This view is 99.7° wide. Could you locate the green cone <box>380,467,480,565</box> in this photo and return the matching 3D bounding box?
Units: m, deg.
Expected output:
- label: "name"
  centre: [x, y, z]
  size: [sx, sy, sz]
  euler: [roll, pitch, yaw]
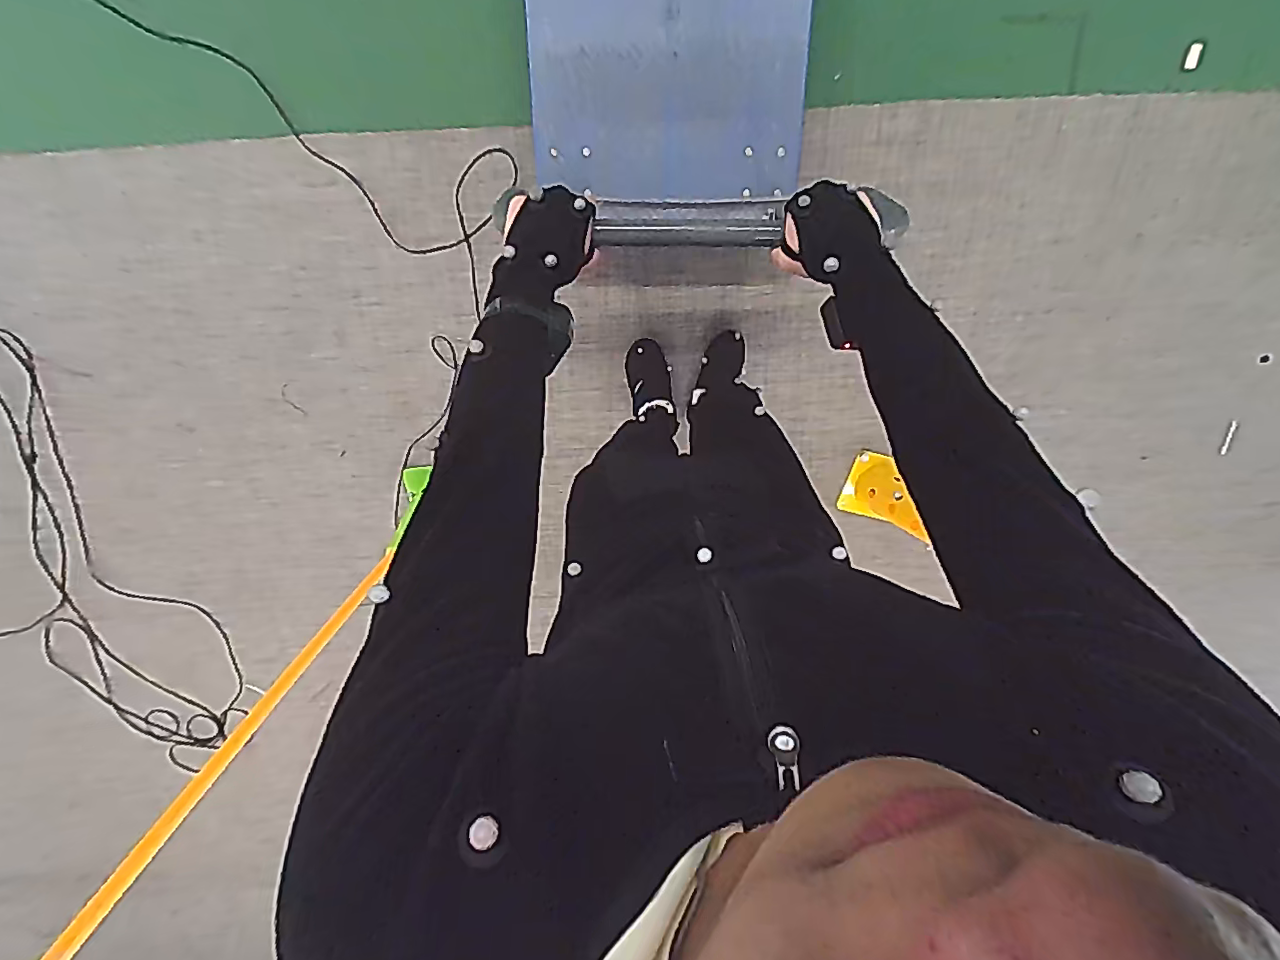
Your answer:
- label: "green cone"
  centre: [-0.604, 0.122, 1.480]
  size: [0.202, 0.368, 0.200]
  euler: [-6, 111, 4]
